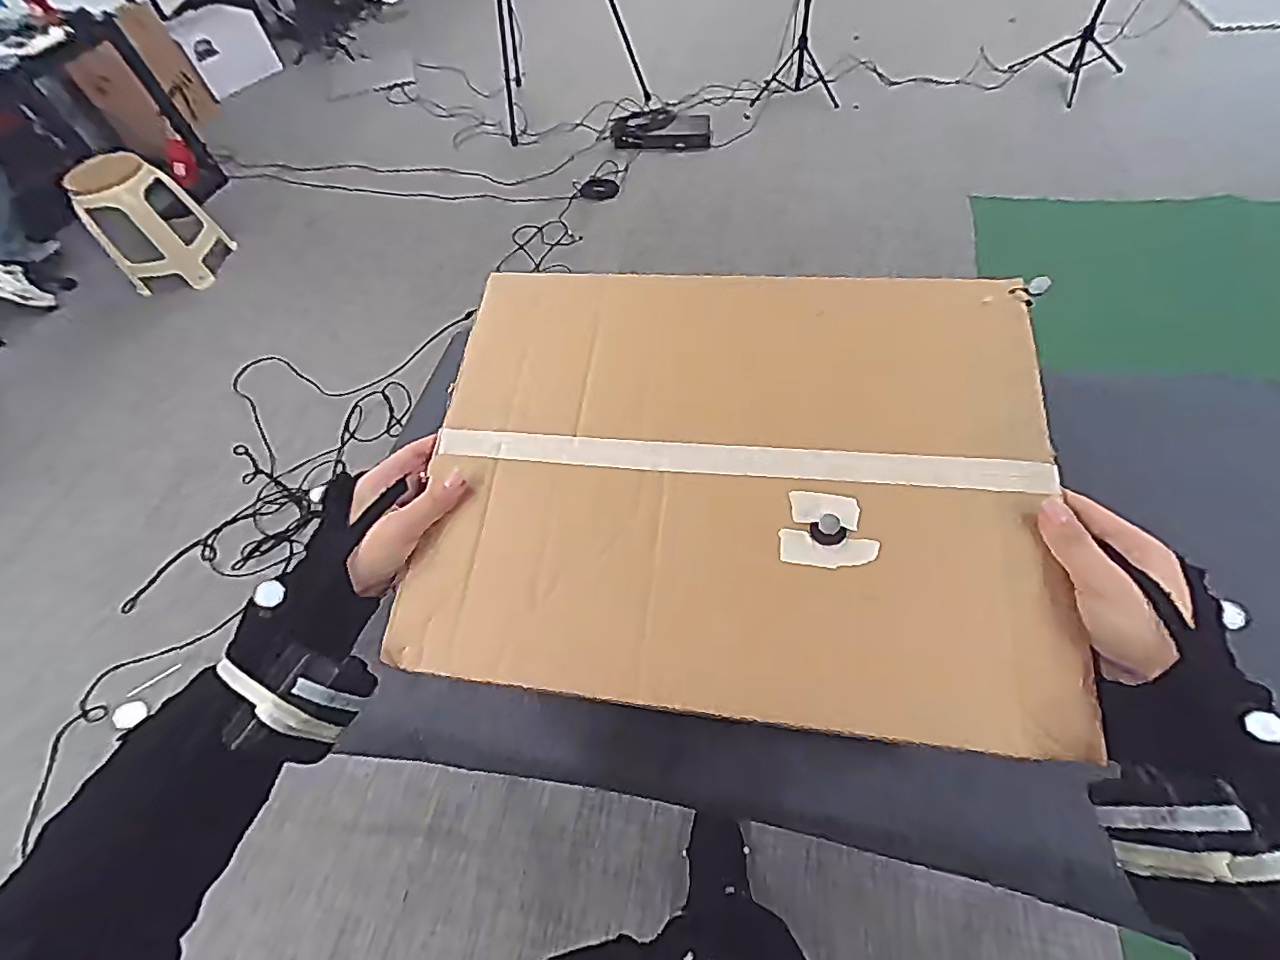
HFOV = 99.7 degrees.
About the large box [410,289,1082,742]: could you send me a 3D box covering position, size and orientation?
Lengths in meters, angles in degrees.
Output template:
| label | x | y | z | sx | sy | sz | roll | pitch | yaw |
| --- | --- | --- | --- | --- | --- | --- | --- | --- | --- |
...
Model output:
| label | x | y | z | sx | sy | sz | roll | pitch | yaw |
| --- | --- | --- | --- | --- | --- | --- | --- | --- | --- |
| large box | 0.075 | 0.048 | 0.511 | 0.408 | 0.320 | 0.320 | 4 | 69 | 8 |
